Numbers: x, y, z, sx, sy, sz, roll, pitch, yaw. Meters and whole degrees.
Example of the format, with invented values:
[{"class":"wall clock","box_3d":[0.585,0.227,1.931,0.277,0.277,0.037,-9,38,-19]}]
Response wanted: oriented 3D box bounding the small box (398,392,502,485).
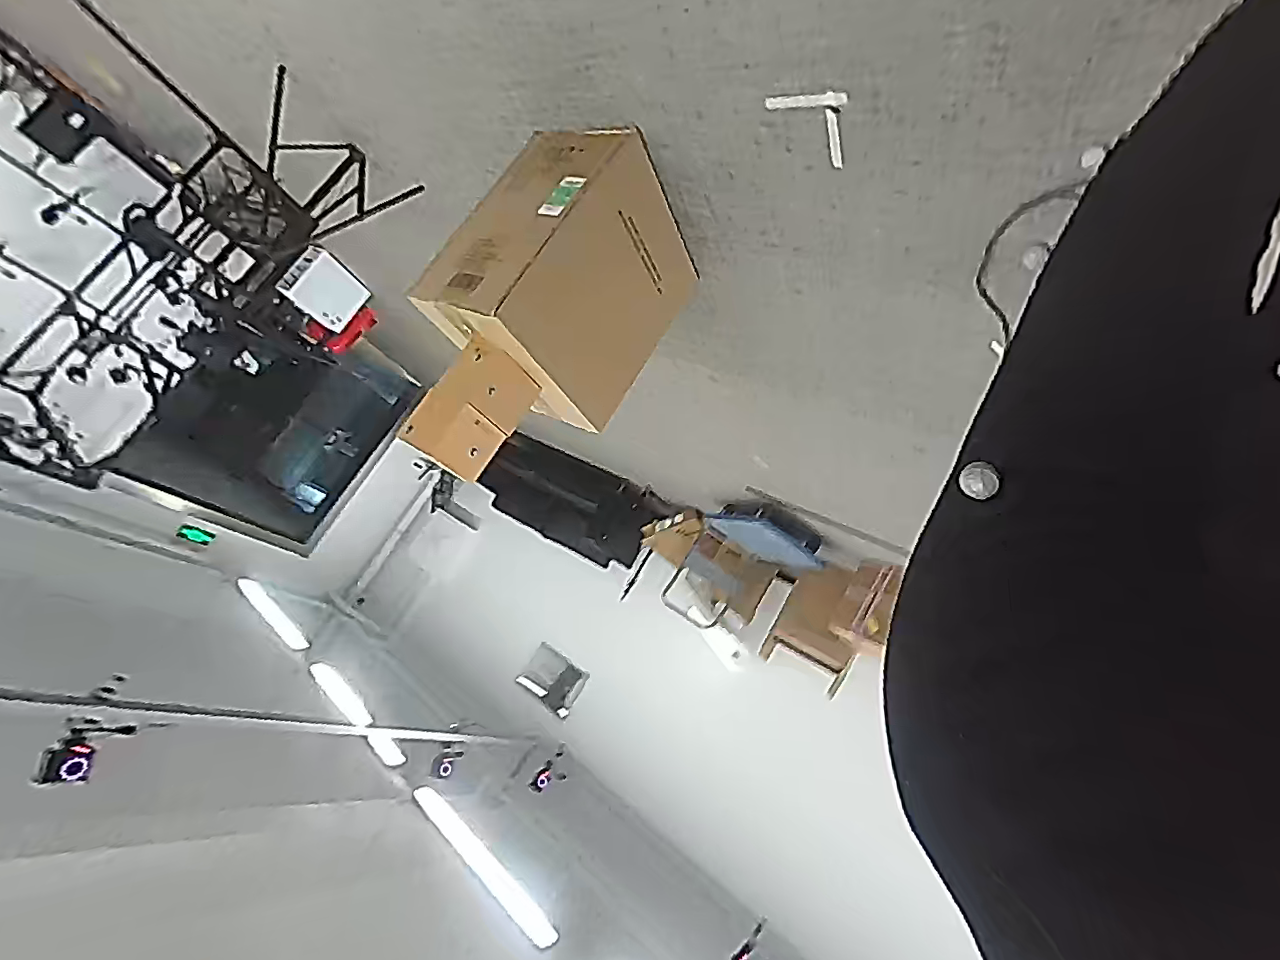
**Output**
[{"class":"small box","box_3d":[-0.499,-0.115,1.447,0.179,0.176,0.168,24,165,37]}]
